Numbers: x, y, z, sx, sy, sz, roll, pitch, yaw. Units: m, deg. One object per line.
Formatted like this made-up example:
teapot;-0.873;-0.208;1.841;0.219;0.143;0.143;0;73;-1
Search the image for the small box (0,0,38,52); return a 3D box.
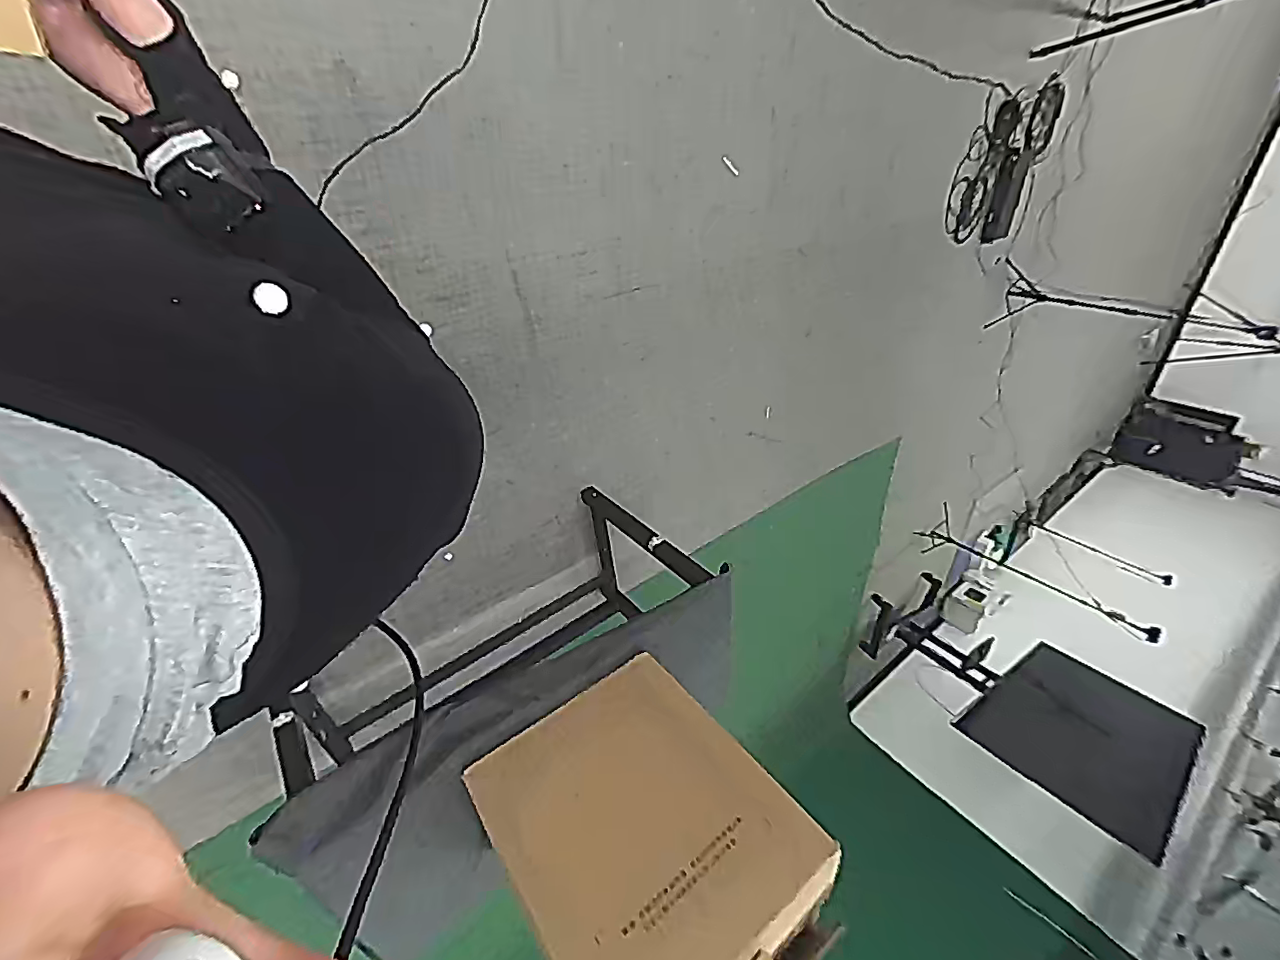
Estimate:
small box;-0.383;-0.309;0.204;0.168;0.176;0.179;-17;142;-38
